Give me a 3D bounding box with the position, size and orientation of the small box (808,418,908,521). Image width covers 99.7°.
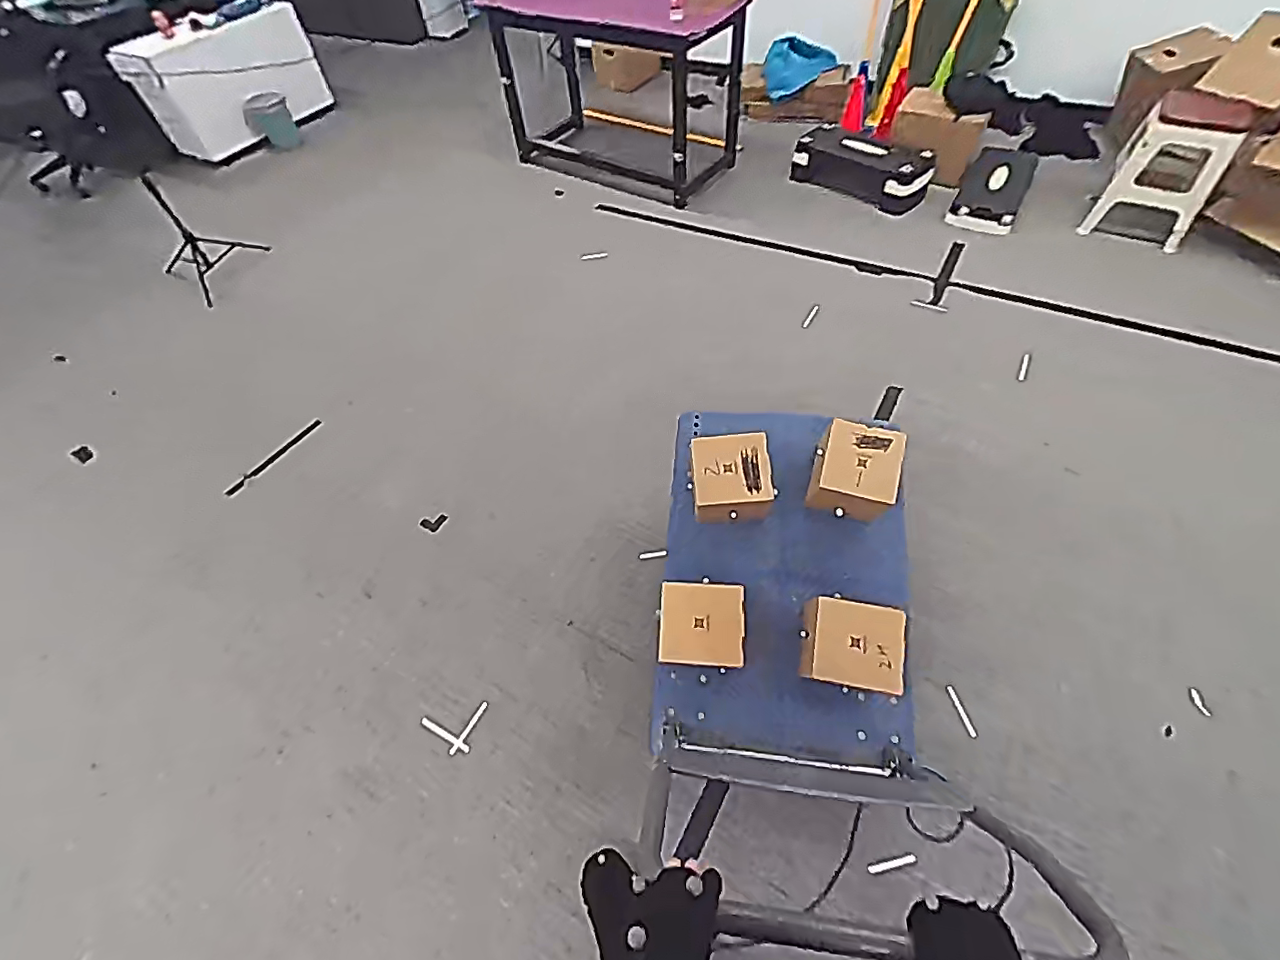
[{"bbox_3d":[0.507,-0.020,1.278,0.168,0.176,0.179,15,75,10],"label":"small box"}]

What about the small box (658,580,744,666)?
[{"bbox_3d":[0.136,0.322,1.205,0.179,0.176,0.168,2,72,5],"label":"small box"}]

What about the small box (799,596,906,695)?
[{"bbox_3d":[0.448,0.355,1.161,0.179,0.176,0.168,9,74,9],"label":"small box"}]
